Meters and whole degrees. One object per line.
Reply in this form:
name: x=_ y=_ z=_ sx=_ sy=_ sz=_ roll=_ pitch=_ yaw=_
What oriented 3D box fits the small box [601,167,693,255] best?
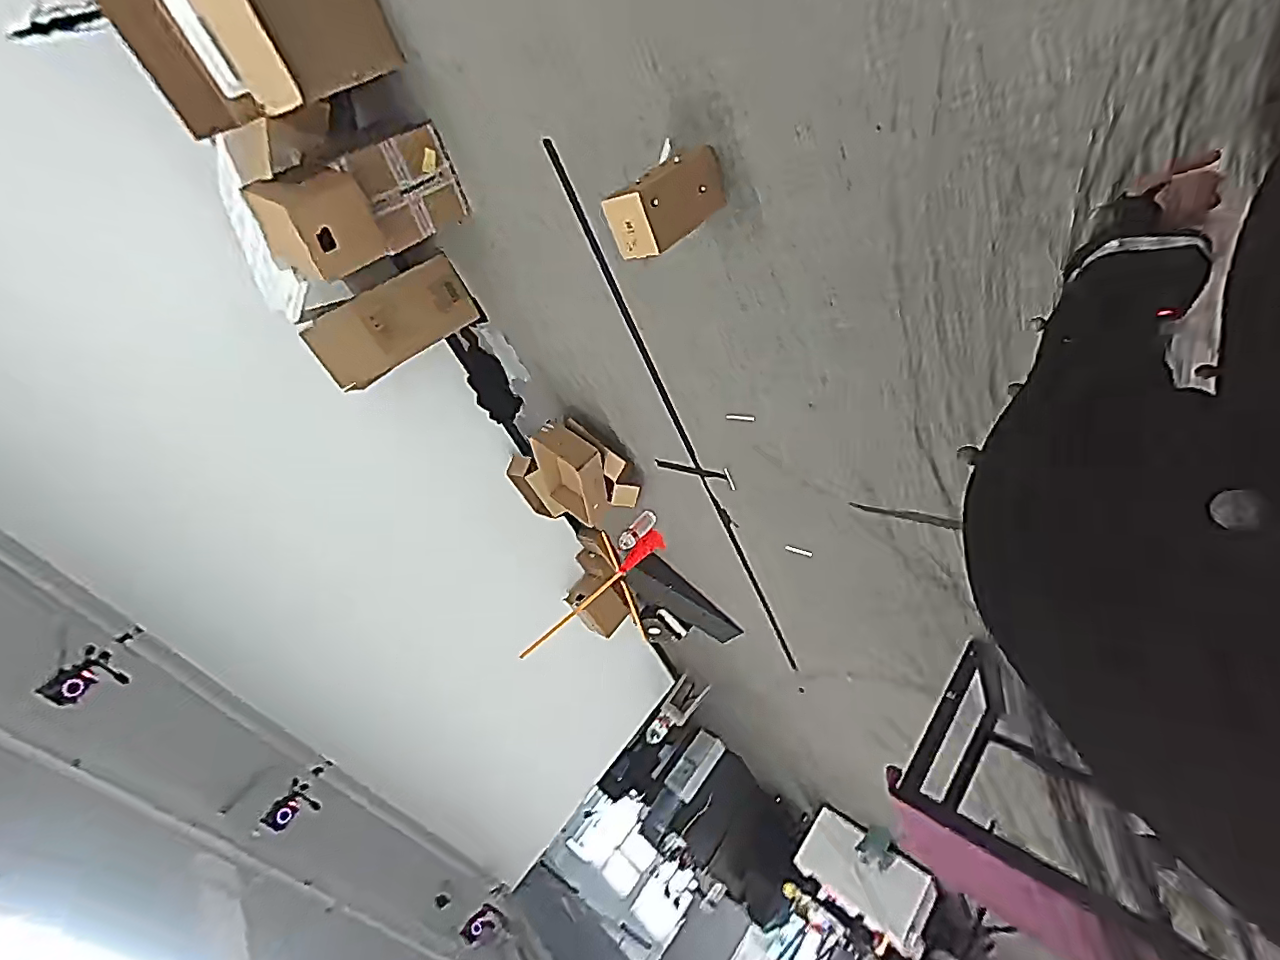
small box: x=0.023 y=-0.779 z=1.565 sx=0.168 sy=0.176 sz=0.179 roll=18 pitch=144 yaw=46
